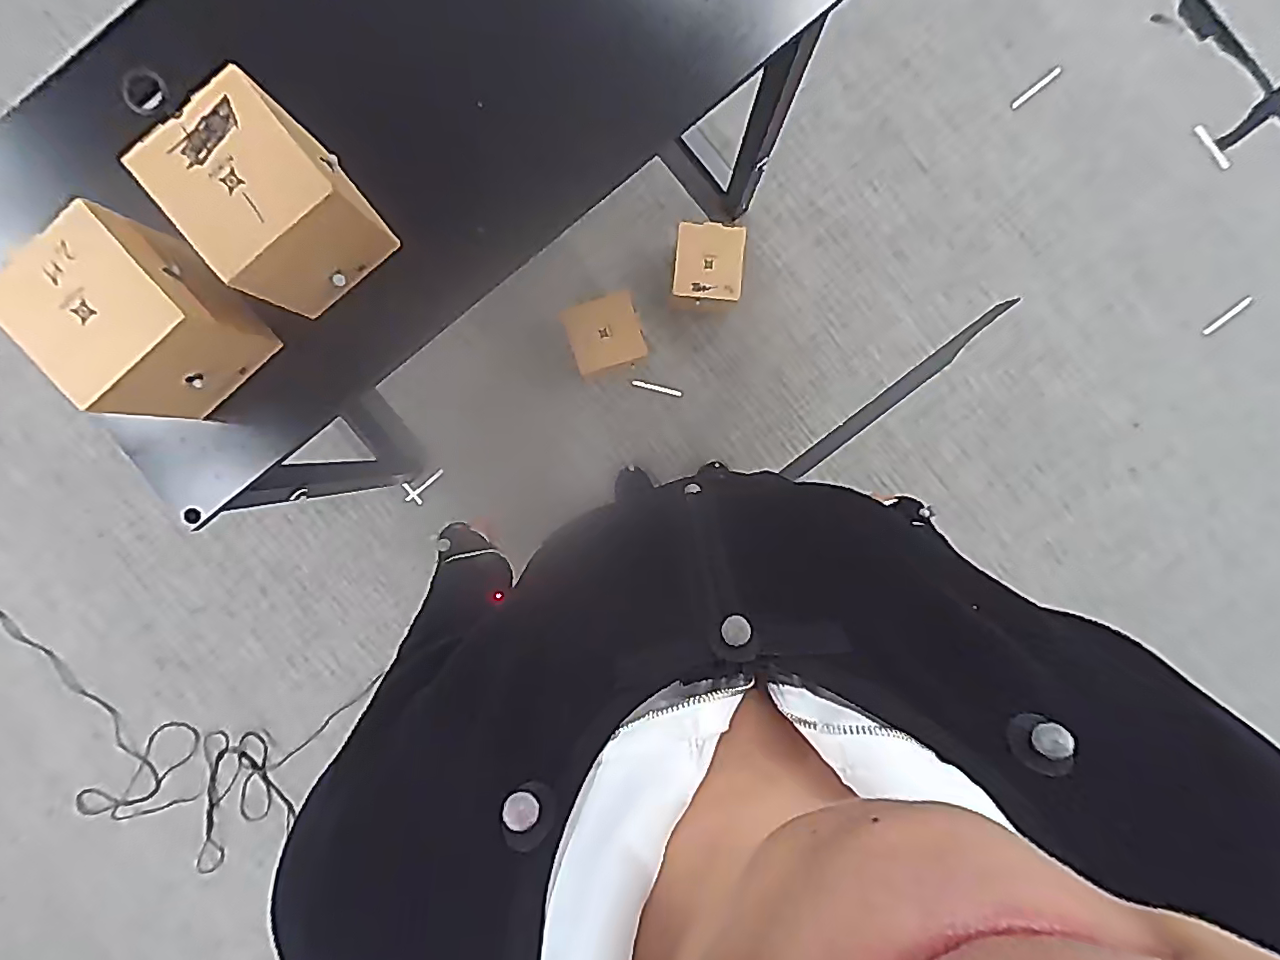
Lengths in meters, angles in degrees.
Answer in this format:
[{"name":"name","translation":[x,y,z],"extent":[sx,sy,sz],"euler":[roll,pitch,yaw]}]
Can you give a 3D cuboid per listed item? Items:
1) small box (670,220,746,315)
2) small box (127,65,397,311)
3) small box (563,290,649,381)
[{"name":"small box","translation":[0.167,-0.537,1.384],"extent":[0.168,0.176,0.179],"euler":[5,94,1]},{"name":"small box","translation":[-0.449,-0.341,0.674],"extent":[0.168,0.176,0.179],"euler":[-39,93,3]},{"name":"small box","translation":[-0.083,-0.367,1.400],"extent":[0.179,0.176,0.168],"euler":[-18,93,3]}]
